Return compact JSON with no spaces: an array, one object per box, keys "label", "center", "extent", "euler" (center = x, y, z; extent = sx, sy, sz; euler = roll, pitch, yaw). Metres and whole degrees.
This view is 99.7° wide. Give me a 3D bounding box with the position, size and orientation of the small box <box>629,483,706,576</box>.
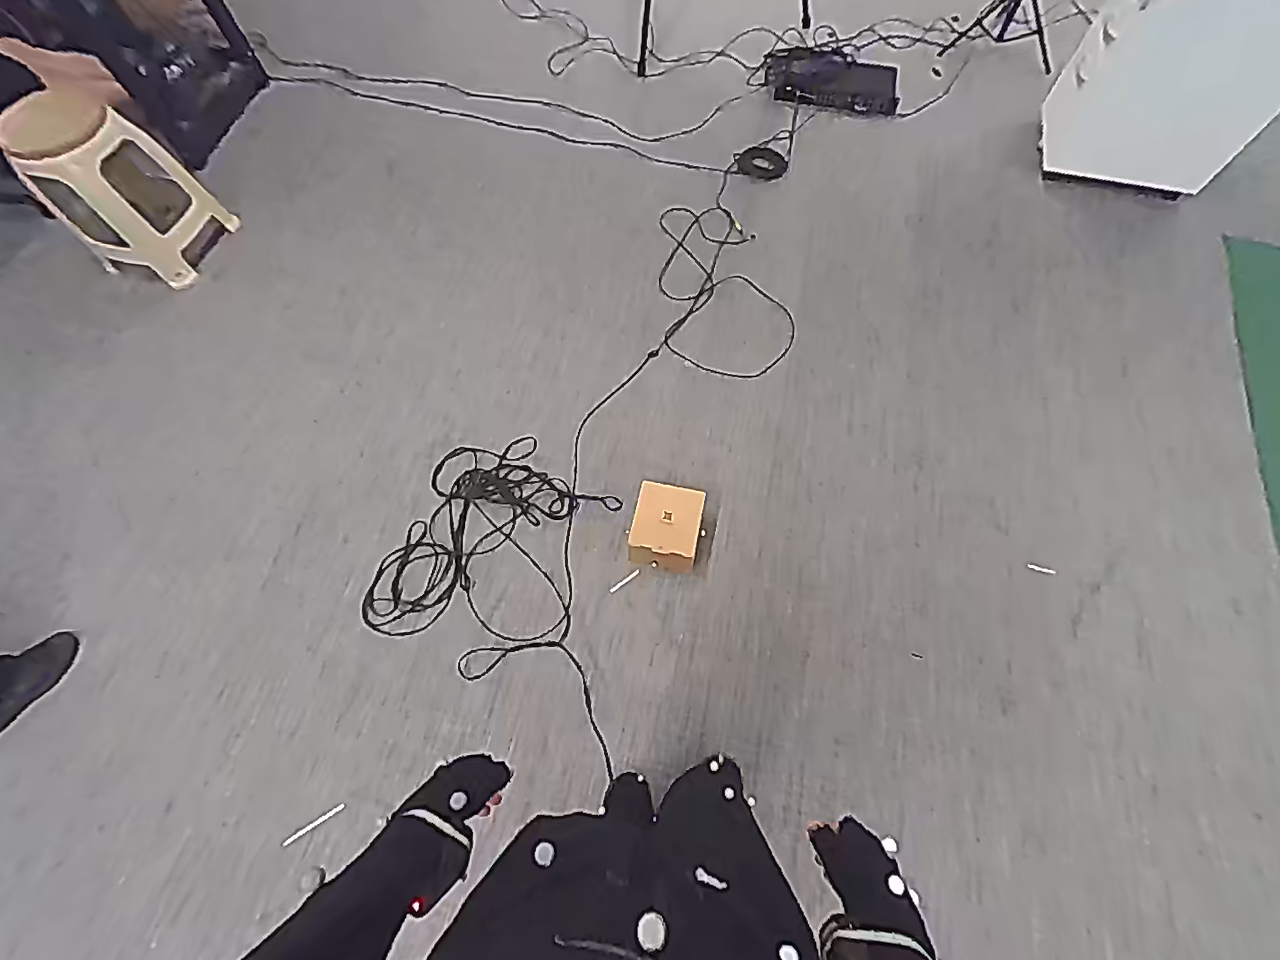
[{"label":"small box","center":[0.071,0.131,1.404],"extent":[0.168,0.176,0.179],"euler":[11,67,7]}]
